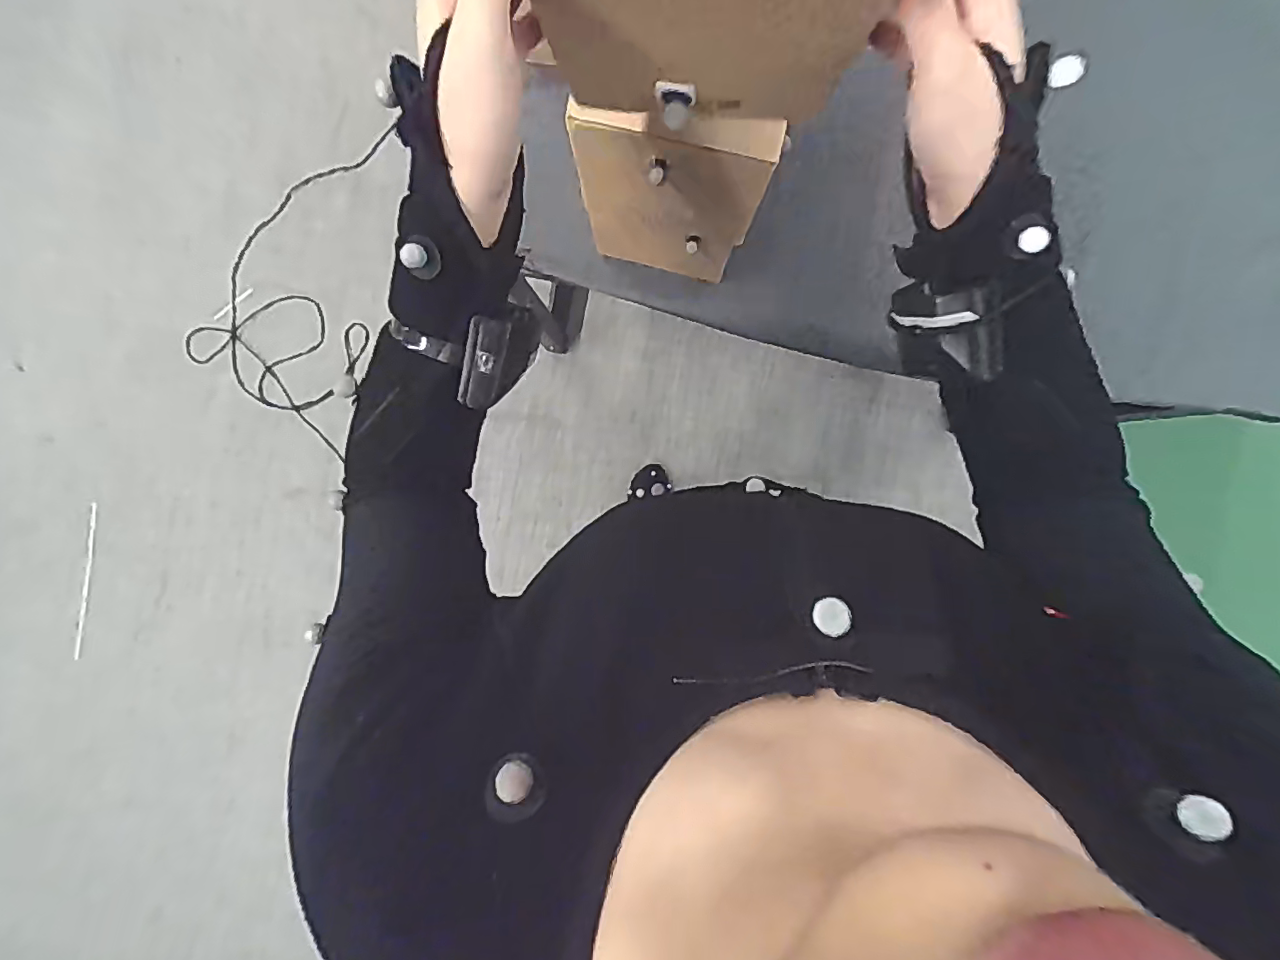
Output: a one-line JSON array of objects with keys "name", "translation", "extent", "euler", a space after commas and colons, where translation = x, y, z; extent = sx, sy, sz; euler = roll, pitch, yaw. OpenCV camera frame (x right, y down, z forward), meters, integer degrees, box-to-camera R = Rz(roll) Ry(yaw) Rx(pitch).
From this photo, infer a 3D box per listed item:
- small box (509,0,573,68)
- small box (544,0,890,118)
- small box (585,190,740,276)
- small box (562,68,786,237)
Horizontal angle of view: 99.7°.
[{"name": "small box", "translation": [-0.074, -0.651, 0.664], "extent": [0.168, 0.176, 0.179], "euler": [8, 93, 2]}, {"name": "small box", "translation": [0.036, -0.309, 0.263], "extent": [0.168, 0.176, 0.179], "euler": [5, 108, 3]}, {"name": "small box", "translation": [0.044, -0.371, 0.667], "extent": [0.179, 0.176, 0.168], "euler": [14, 92, 1]}, {"name": "small box", "translation": [0.043, -0.351, 0.506], "extent": [0.179, 0.176, 0.168], "euler": [13, 93, 2]}]
